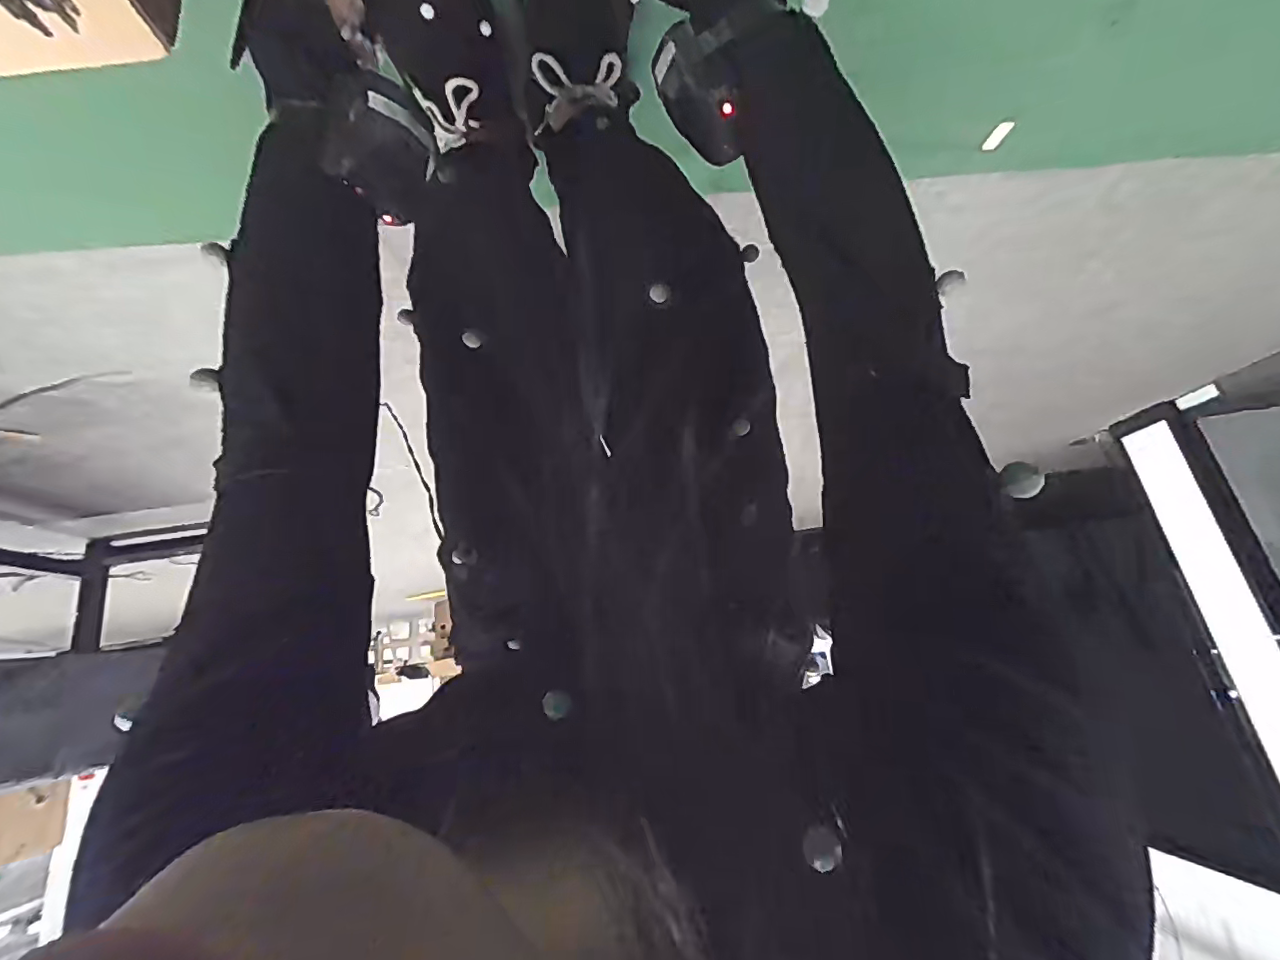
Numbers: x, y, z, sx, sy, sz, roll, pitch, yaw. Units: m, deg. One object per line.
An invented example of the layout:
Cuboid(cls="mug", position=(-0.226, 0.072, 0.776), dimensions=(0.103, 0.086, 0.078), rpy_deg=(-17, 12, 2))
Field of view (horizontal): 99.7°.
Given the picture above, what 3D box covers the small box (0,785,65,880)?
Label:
Cuboid(cls="small box", position=(-1.463, 0.802, 1.213), dimensions=(0.179, 0.176, 0.168), rpy_deg=(-8, 162, -7))
